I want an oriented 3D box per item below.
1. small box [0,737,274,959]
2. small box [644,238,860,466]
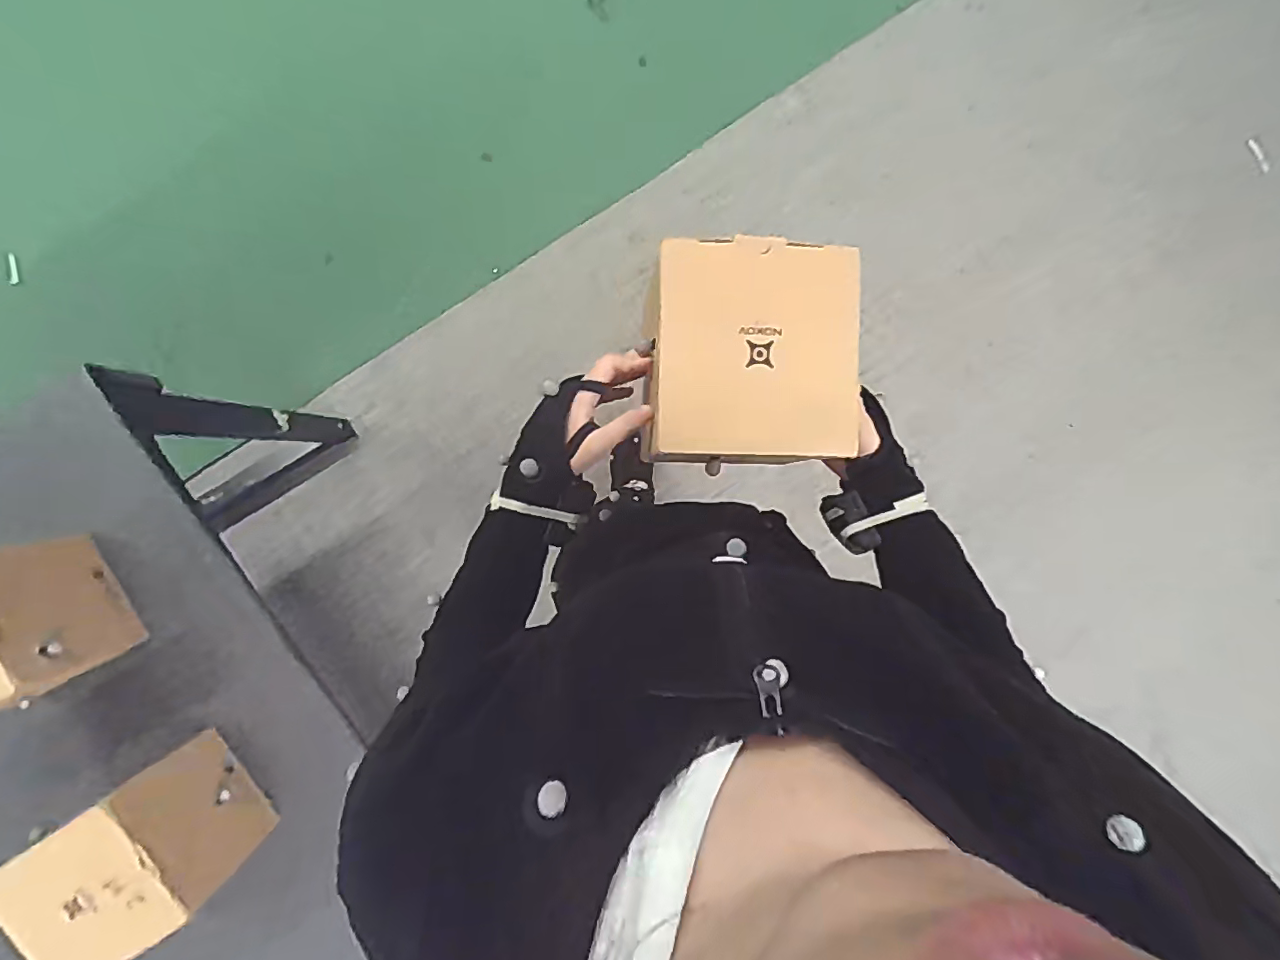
[{"bbox_3d":[-0.619,0.468,0.676,0.179,0.176,0.168,-33,94,0],"label":"small box"},{"bbox_3d":[0.093,-0.105,0.520,0.168,0.176,0.179,1,88,-4],"label":"small box"}]
